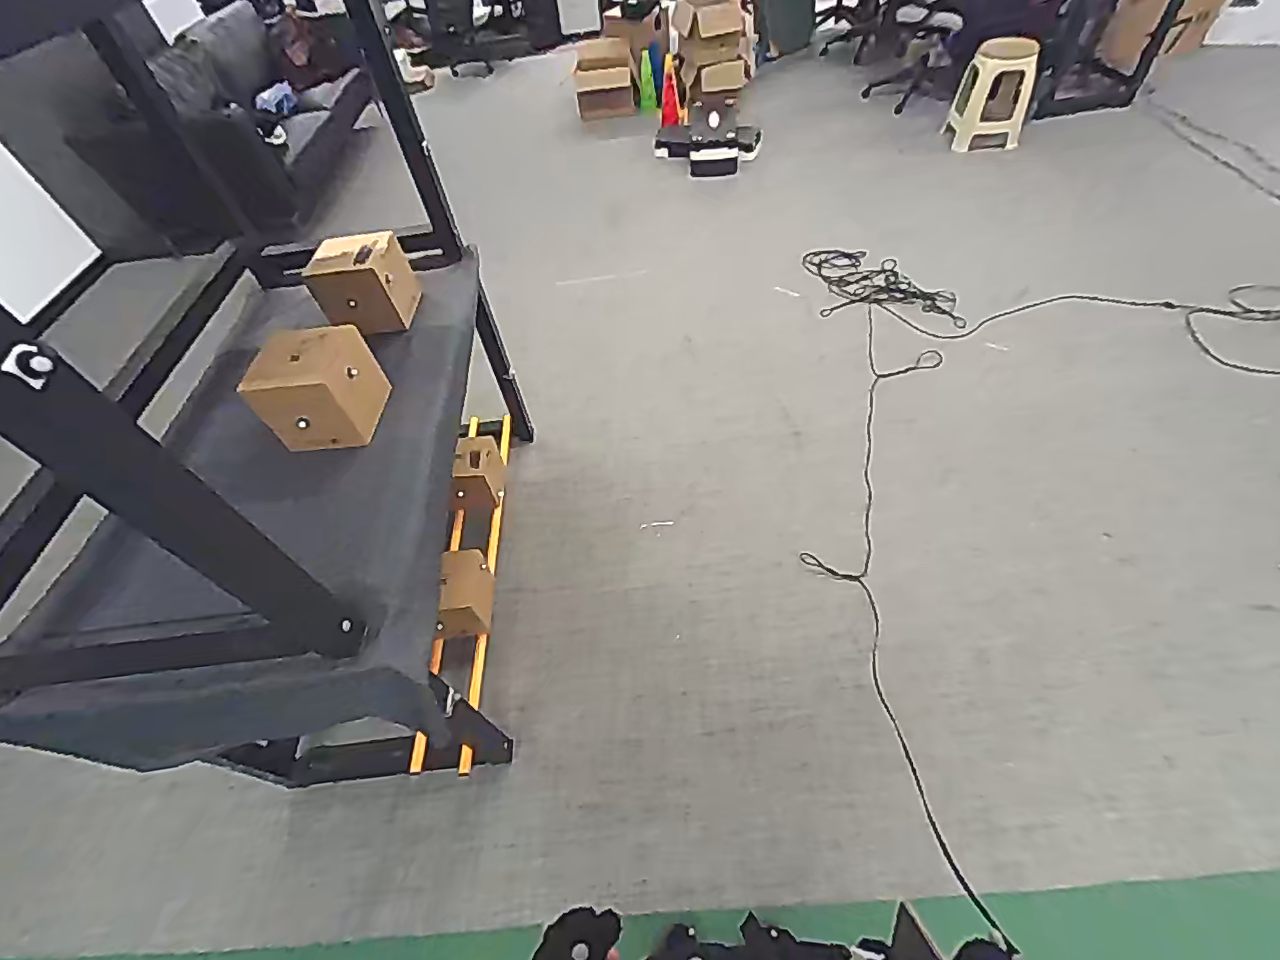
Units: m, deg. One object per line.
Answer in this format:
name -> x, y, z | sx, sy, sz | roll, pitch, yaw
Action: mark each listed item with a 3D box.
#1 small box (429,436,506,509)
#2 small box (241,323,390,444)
small box -> -0.543, -0.021, 1.734 | 0.179, 0.176, 0.168 | -4, 51, 3
small box -> -0.625, -0.183, 1.071 | 0.168, 0.176, 0.179 | -4, 51, 3
